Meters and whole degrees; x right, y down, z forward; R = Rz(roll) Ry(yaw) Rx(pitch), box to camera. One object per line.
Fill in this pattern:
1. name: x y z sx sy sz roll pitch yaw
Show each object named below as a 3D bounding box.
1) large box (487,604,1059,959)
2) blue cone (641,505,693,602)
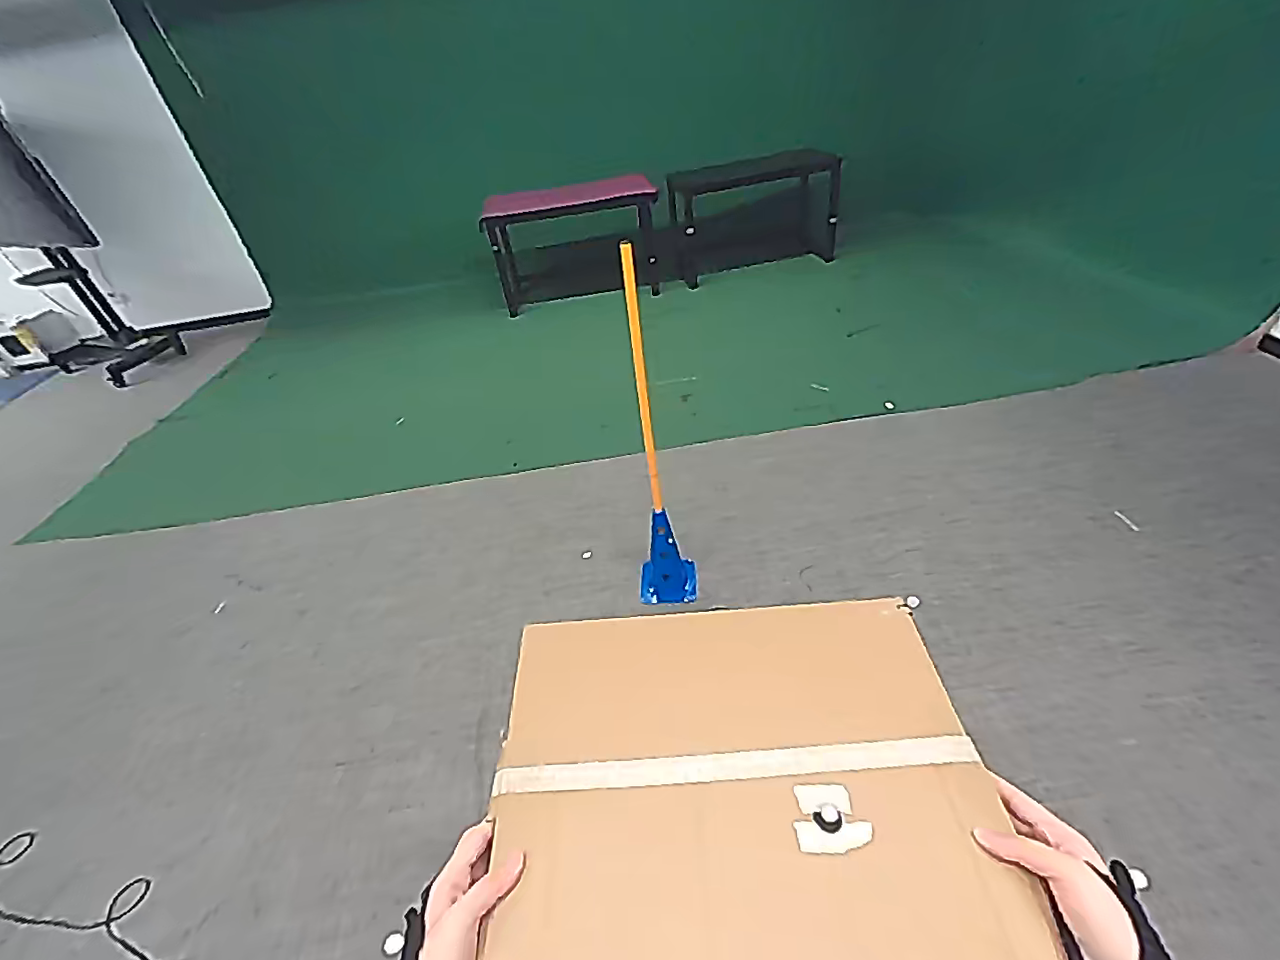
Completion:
1. large box: 0.089 0.361 0.570 0.408 0.320 0.320 -4 42 1
2. blue cone: 0.079 0.246 1.897 0.193 0.380 0.192 -3 37 7
